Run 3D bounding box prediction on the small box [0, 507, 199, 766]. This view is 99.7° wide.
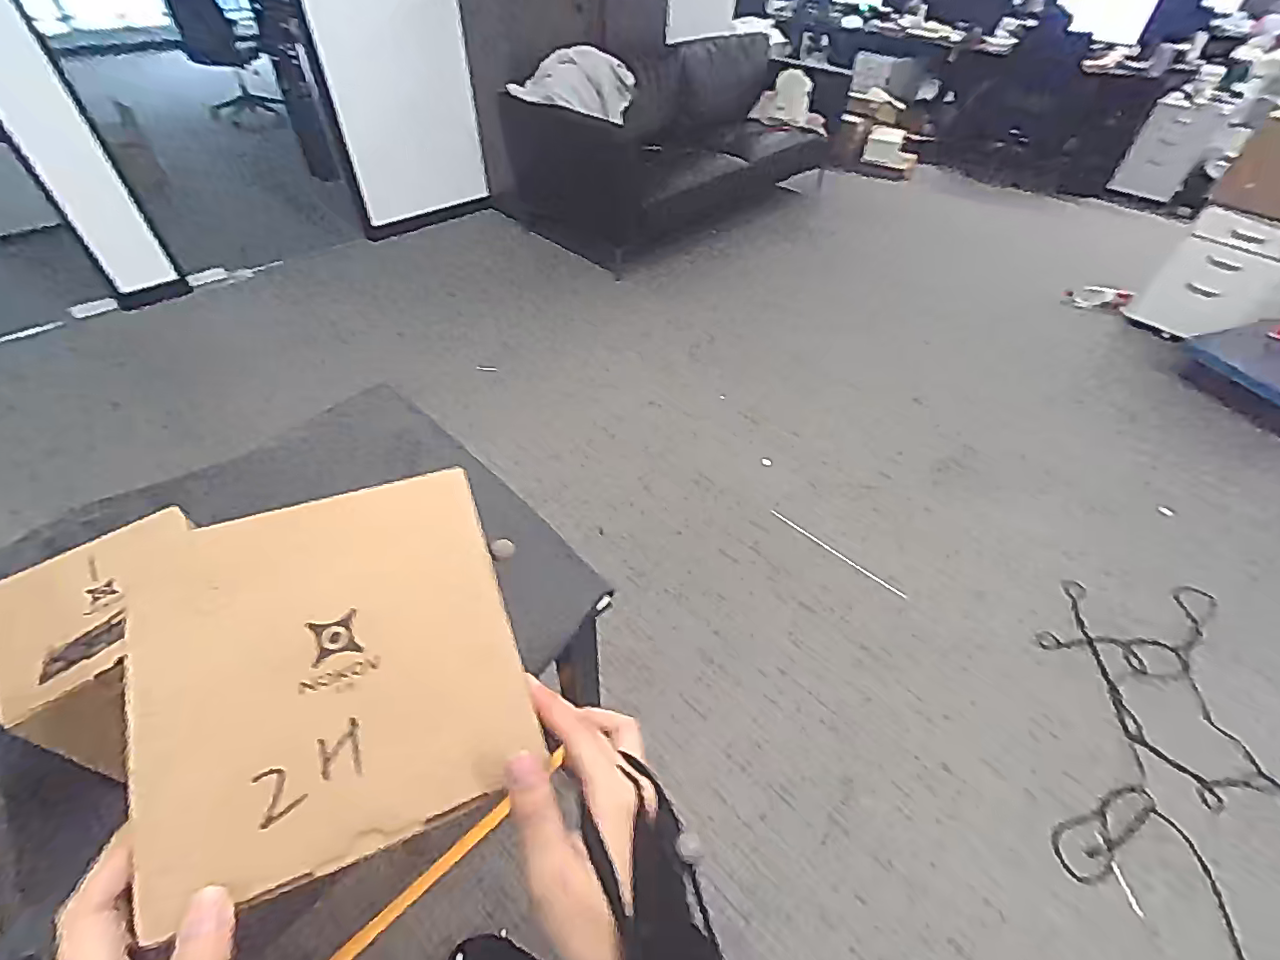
[{"bbox_3d":[-0.508,0.168,0.570,0.168,0.176,0.179,-33,55,-30],"label":"small box"}]

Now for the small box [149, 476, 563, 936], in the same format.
[{"bbox_3d":[-0.155,0.125,0.335,0.168,0.176,0.179,-14,66,-19],"label":"small box"}]
